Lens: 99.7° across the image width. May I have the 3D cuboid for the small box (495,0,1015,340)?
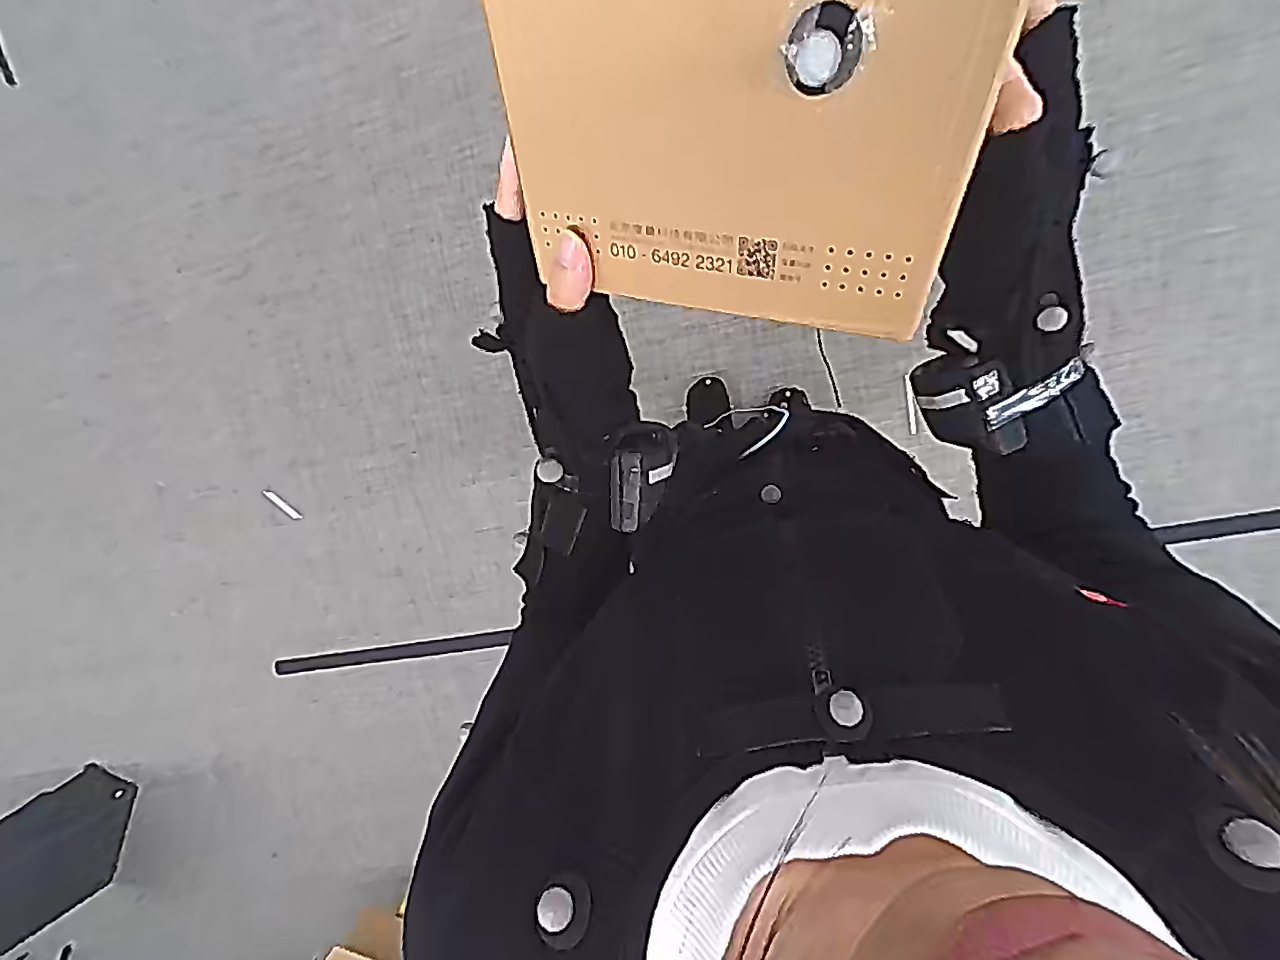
[{"bbox_3d":[0.058,-0.182,0.228,0.168,0.179,0.176,17,141,19],"label":"small box"}]
